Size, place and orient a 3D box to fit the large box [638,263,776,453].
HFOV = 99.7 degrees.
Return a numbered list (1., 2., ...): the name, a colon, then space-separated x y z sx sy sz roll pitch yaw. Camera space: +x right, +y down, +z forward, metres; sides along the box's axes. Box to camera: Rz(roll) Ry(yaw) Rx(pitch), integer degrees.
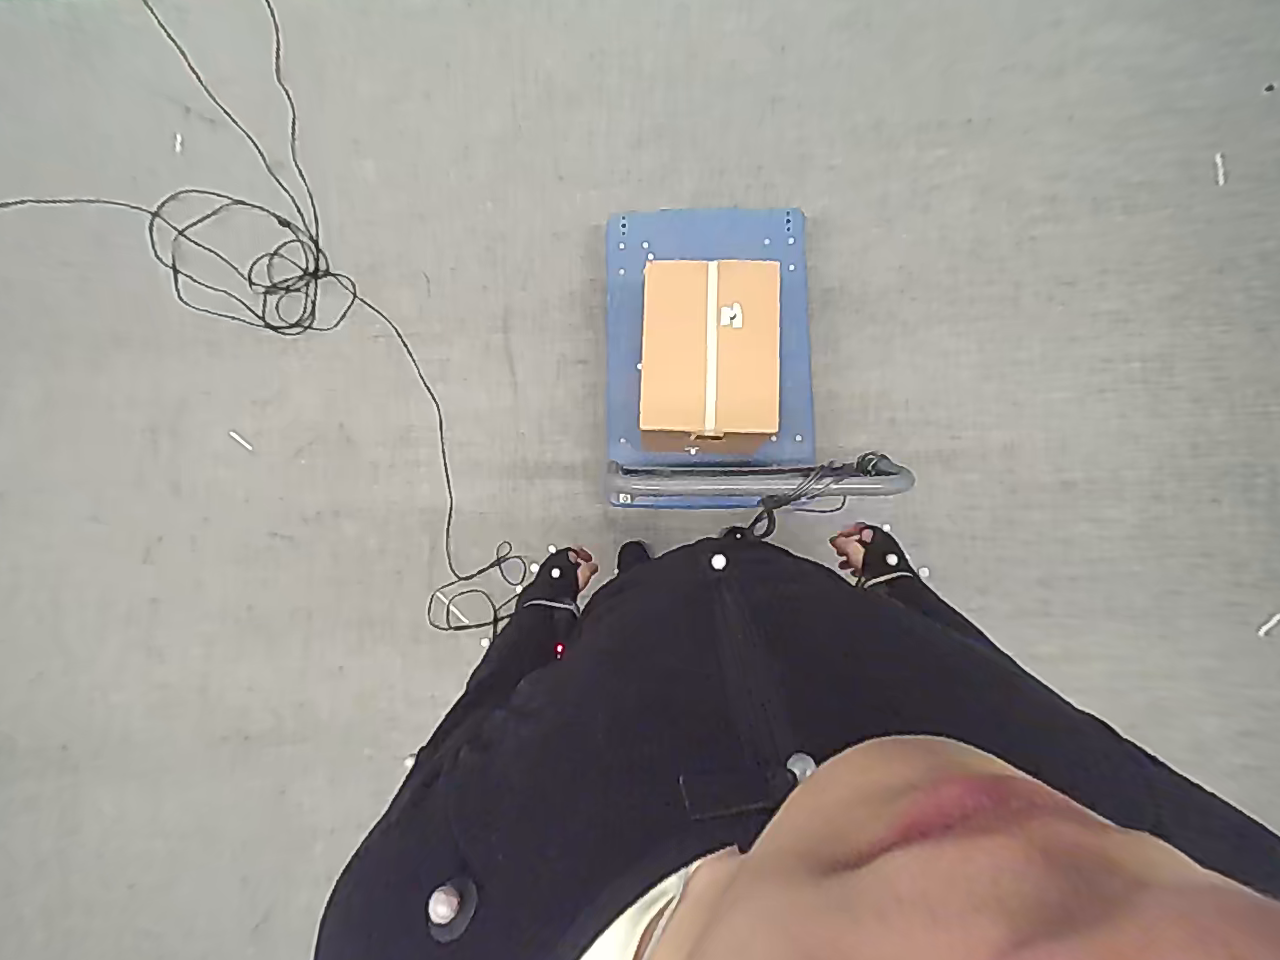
1. large box: 0.161 -0.288 1.381 0.320 0.320 0.408 2 83 2
